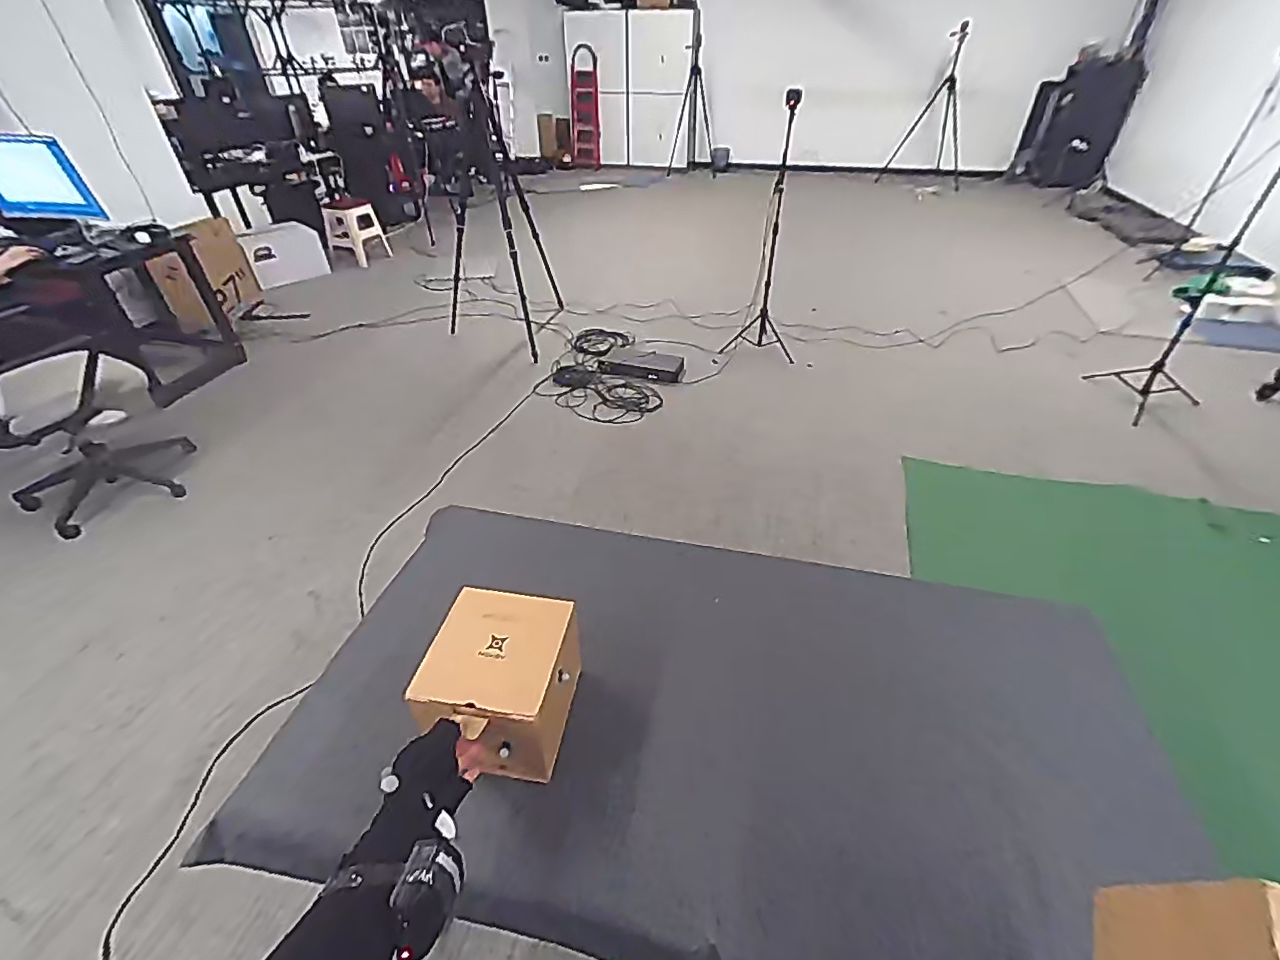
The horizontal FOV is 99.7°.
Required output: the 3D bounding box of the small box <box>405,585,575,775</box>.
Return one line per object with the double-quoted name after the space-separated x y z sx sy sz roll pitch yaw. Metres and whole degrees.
-0.188 0.274 0.744 0.168 0.176 0.179 7 37 6 "small box"
